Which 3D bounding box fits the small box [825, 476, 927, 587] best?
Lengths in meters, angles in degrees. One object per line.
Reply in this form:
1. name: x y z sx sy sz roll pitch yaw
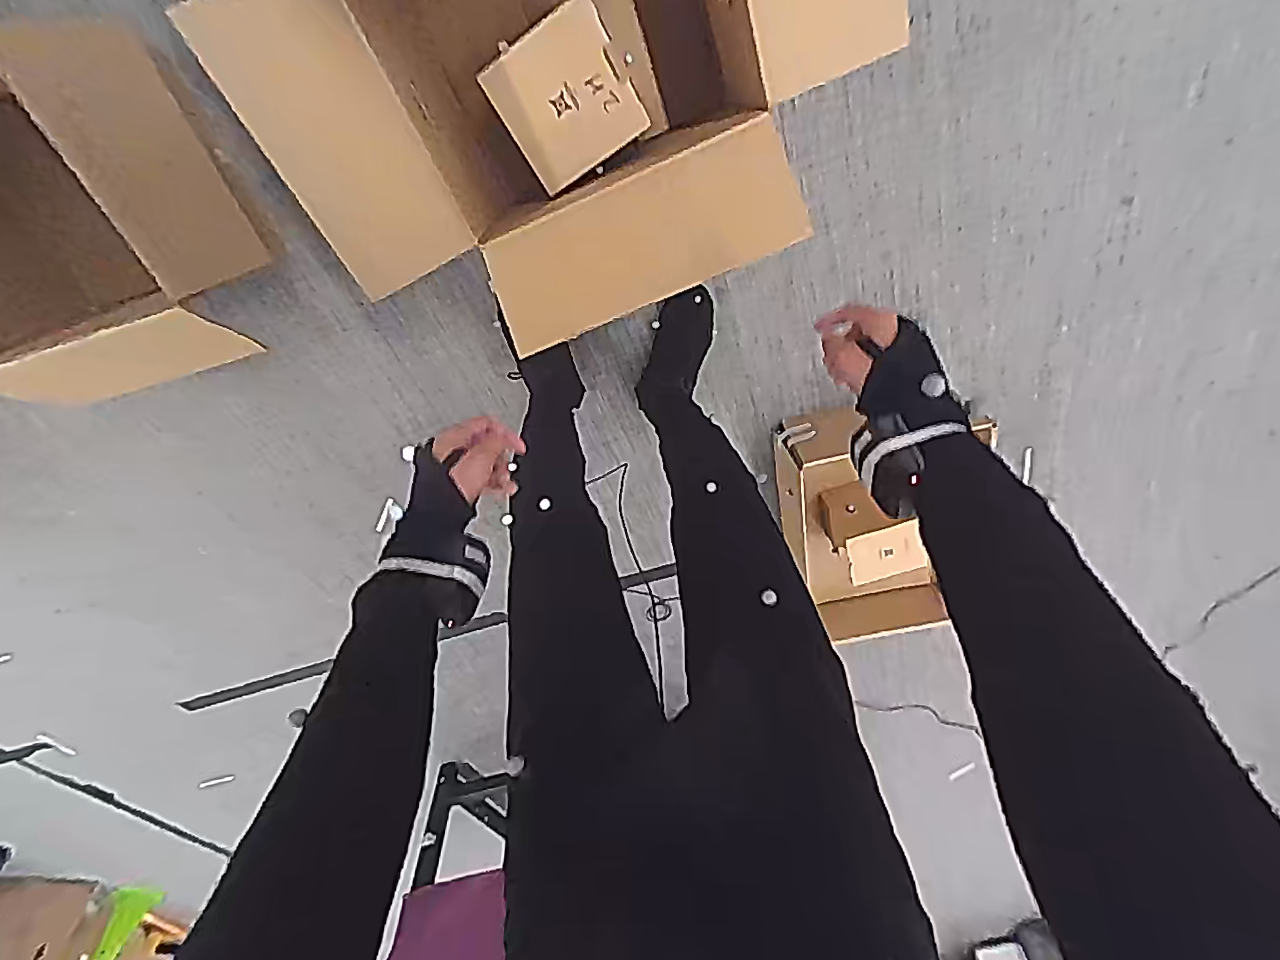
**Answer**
1. small box: 0.546 0.118 1.266 0.179 0.176 0.168 -17 126 8
